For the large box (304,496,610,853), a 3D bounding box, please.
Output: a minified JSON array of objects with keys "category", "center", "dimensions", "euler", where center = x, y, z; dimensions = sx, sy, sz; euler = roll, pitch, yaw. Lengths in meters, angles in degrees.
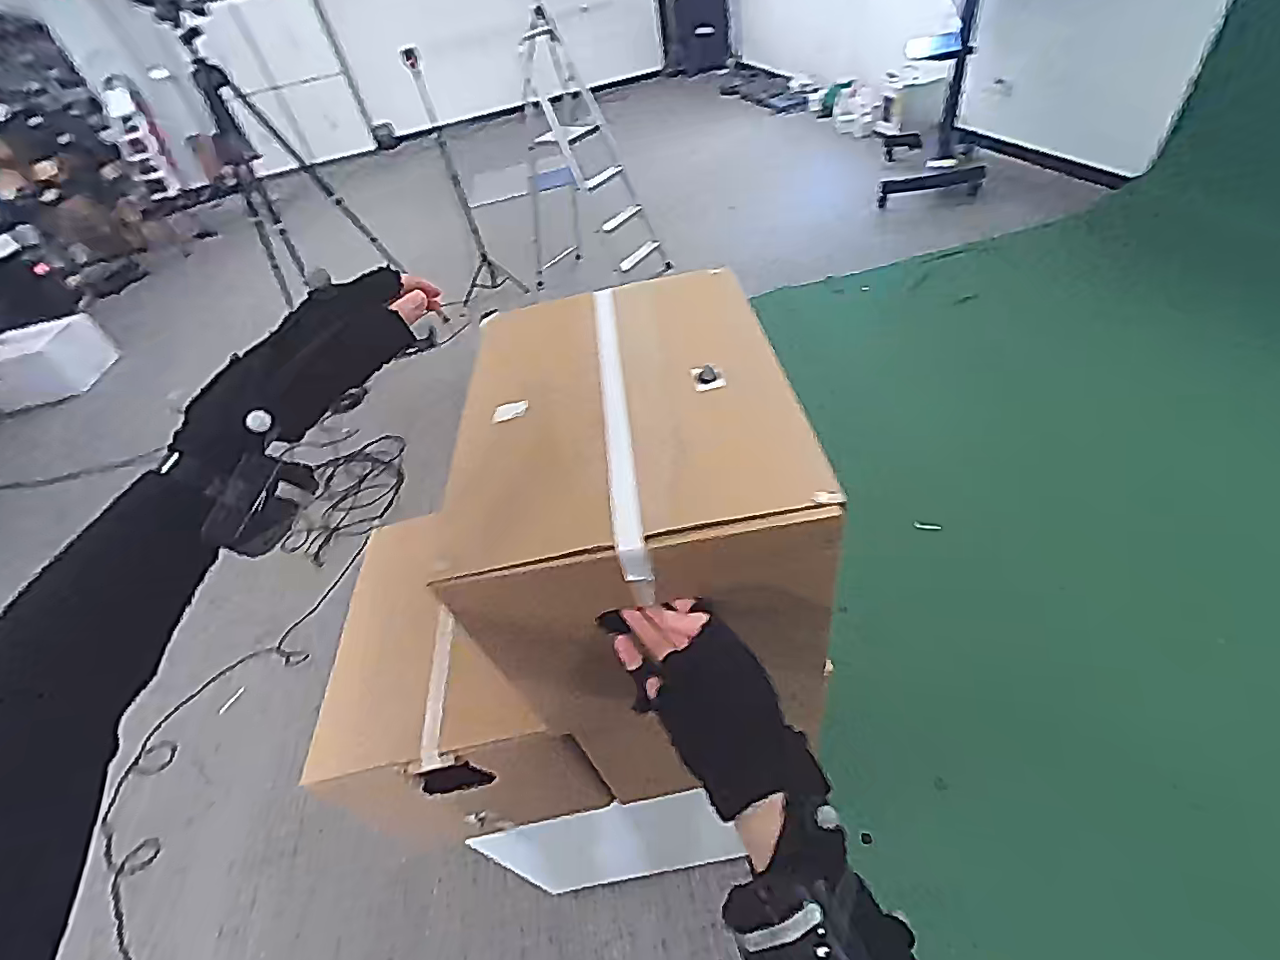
[{"category":"large box","center":[-0.249,0.298,0.867],"dimensions":[0.320,0.320,0.408],"euler":[-13,42,0]}]
